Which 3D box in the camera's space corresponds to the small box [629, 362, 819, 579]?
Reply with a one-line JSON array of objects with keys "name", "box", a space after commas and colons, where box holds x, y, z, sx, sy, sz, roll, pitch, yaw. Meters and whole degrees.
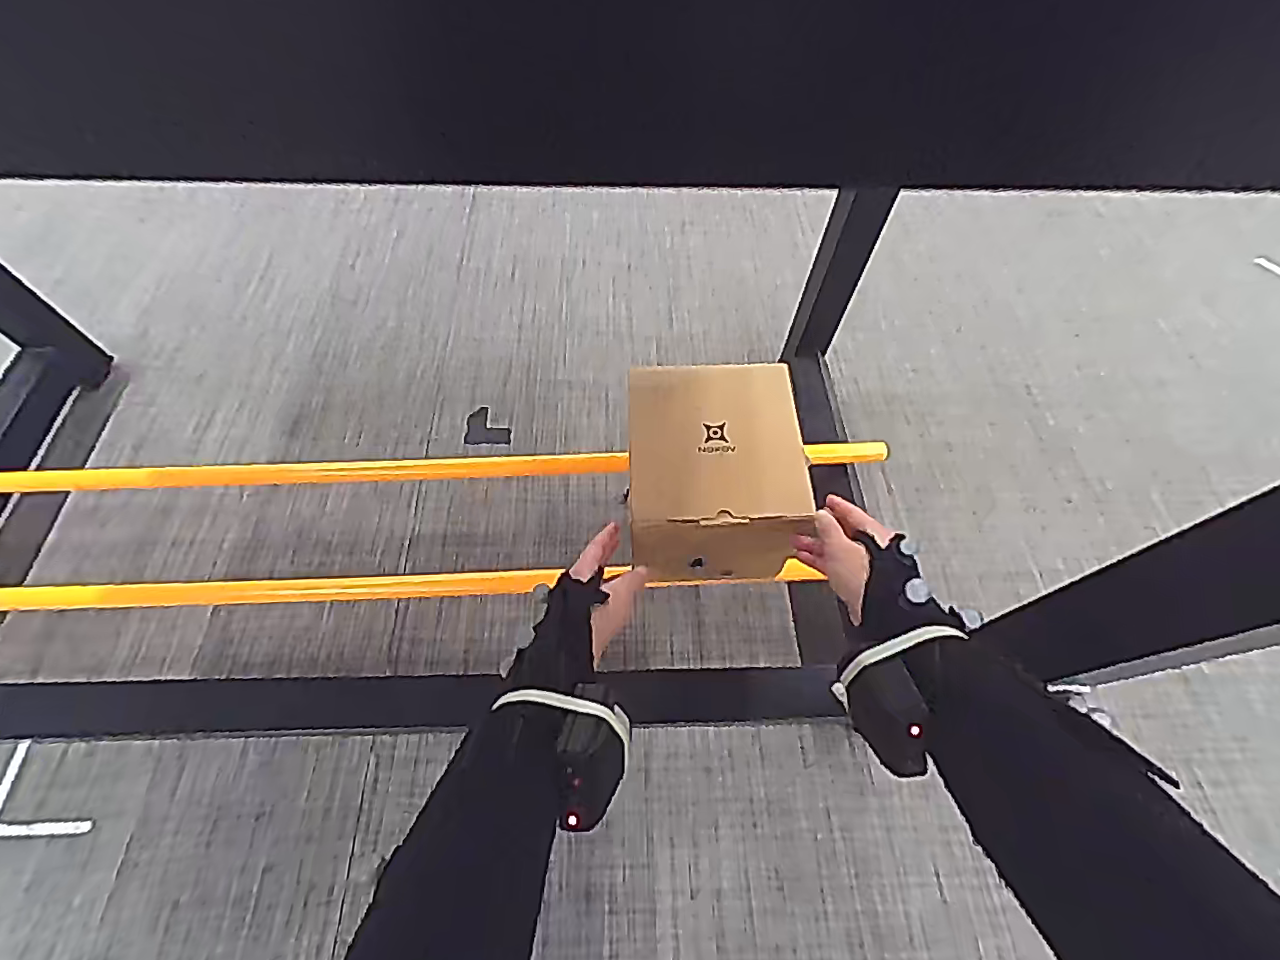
[{"name": "small box", "box": [0.072, -0.005, 0.578, 0.168, 0.176, 0.179, -2, 62, -1]}]
